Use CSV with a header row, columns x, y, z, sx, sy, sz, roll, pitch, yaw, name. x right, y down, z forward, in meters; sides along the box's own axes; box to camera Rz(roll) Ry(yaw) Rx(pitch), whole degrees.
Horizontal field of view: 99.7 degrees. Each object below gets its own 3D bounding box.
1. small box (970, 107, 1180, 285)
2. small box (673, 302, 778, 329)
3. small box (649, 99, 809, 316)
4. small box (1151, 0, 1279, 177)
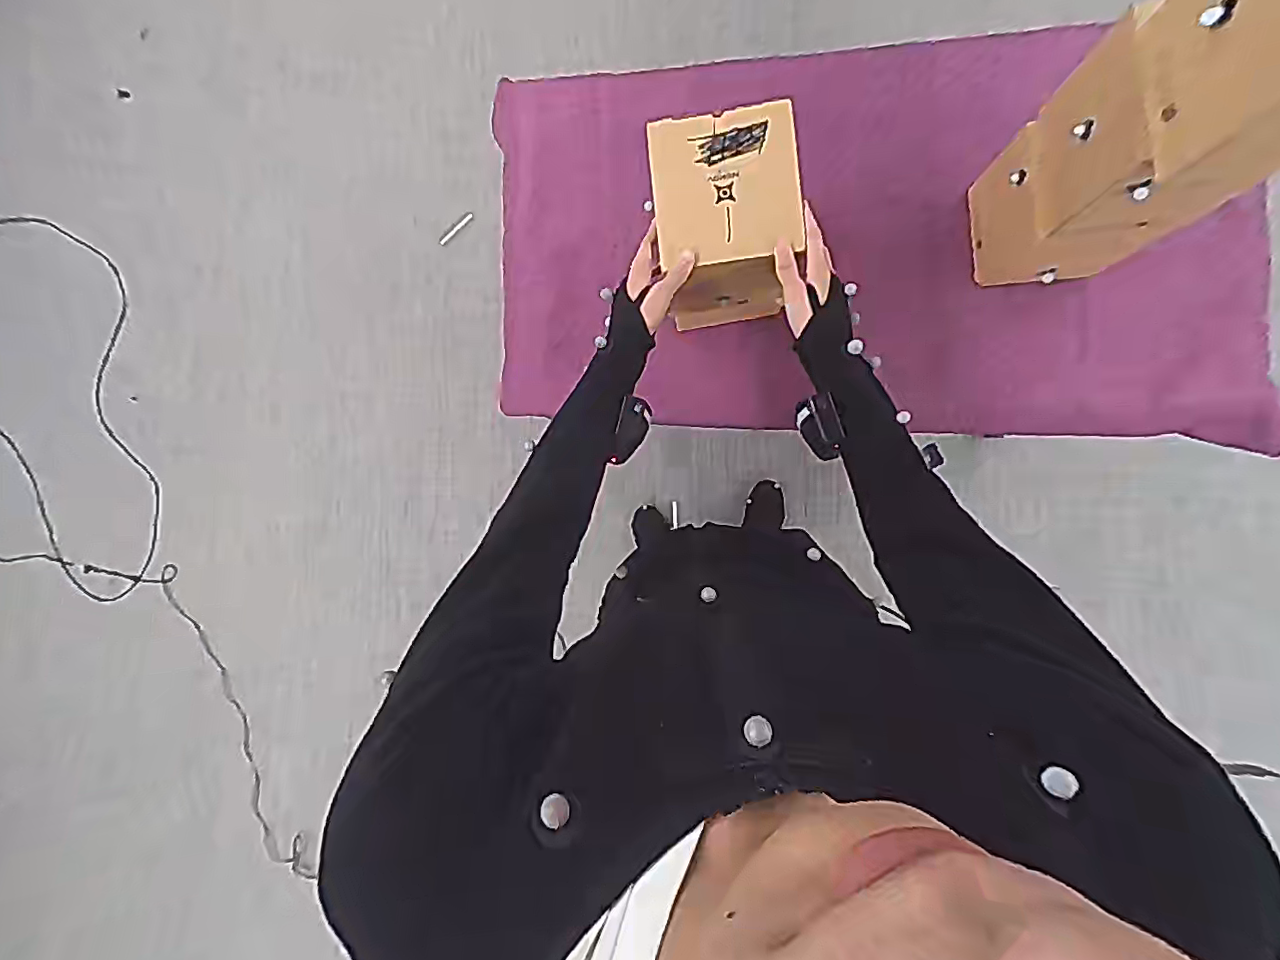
x,y,z,sx,sy,sz,roll,pitch,yaw,name
0.618,-0.401,0.790,0.179,0.176,0.168,-3,88,6,small box
0.128,-0.348,0.842,0.179,0.176,0.168,-8,88,5,small box
0.105,-0.325,0.679,0.168,0.176,0.179,-6,89,7,small box
0.593,-0.391,0.462,0.179,0.176,0.168,-6,88,6,small box
